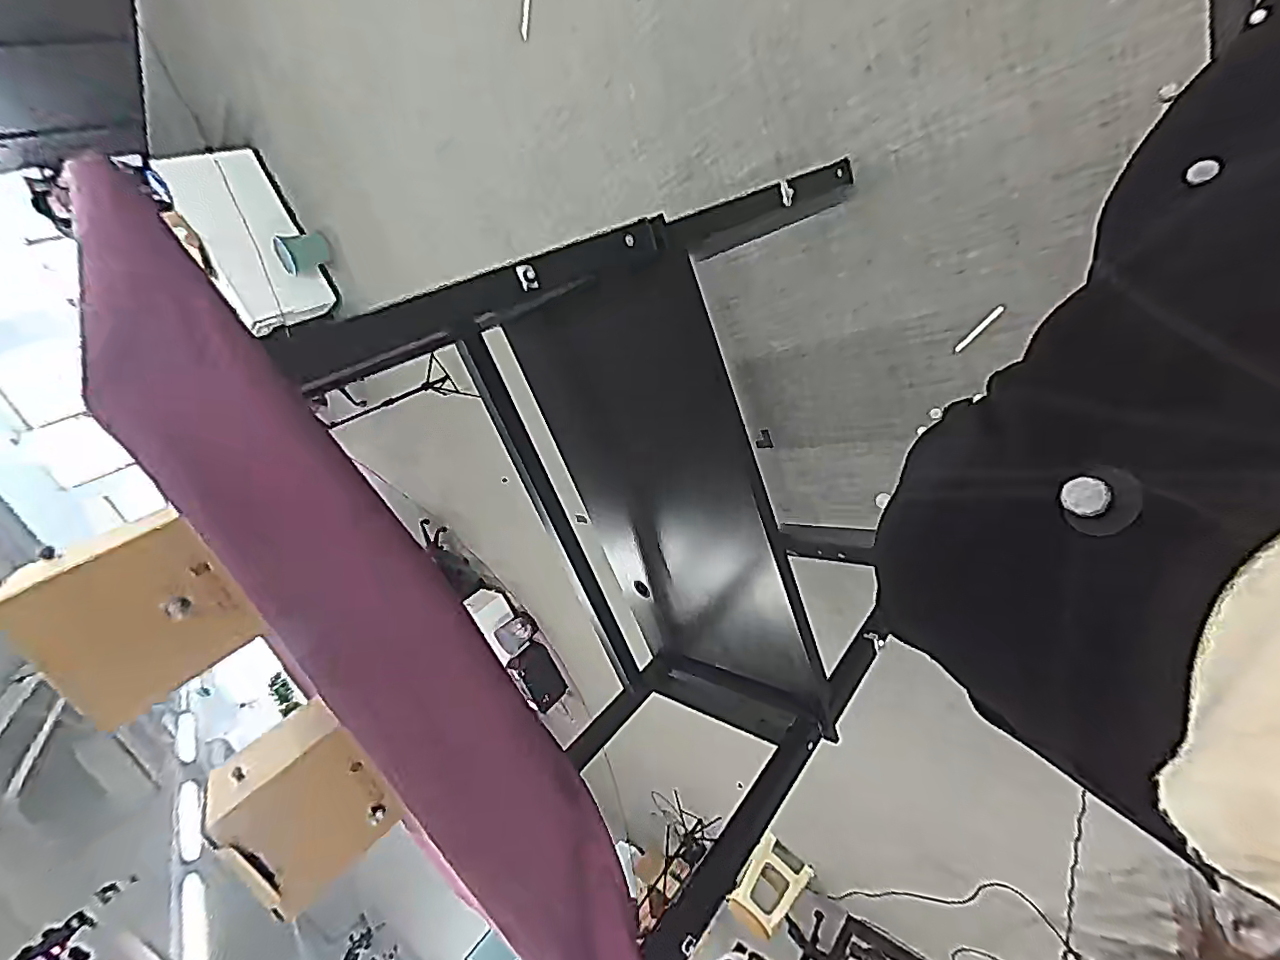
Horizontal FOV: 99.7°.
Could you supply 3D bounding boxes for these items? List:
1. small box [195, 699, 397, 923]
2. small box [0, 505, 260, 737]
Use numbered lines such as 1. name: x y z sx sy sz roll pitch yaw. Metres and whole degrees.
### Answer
1. small box: -0.464 0.432 0.741 0.179 0.176 0.168 -6 115 52
2. small box: -0.575 0.143 0.619 0.179 0.176 0.168 6 124 47
